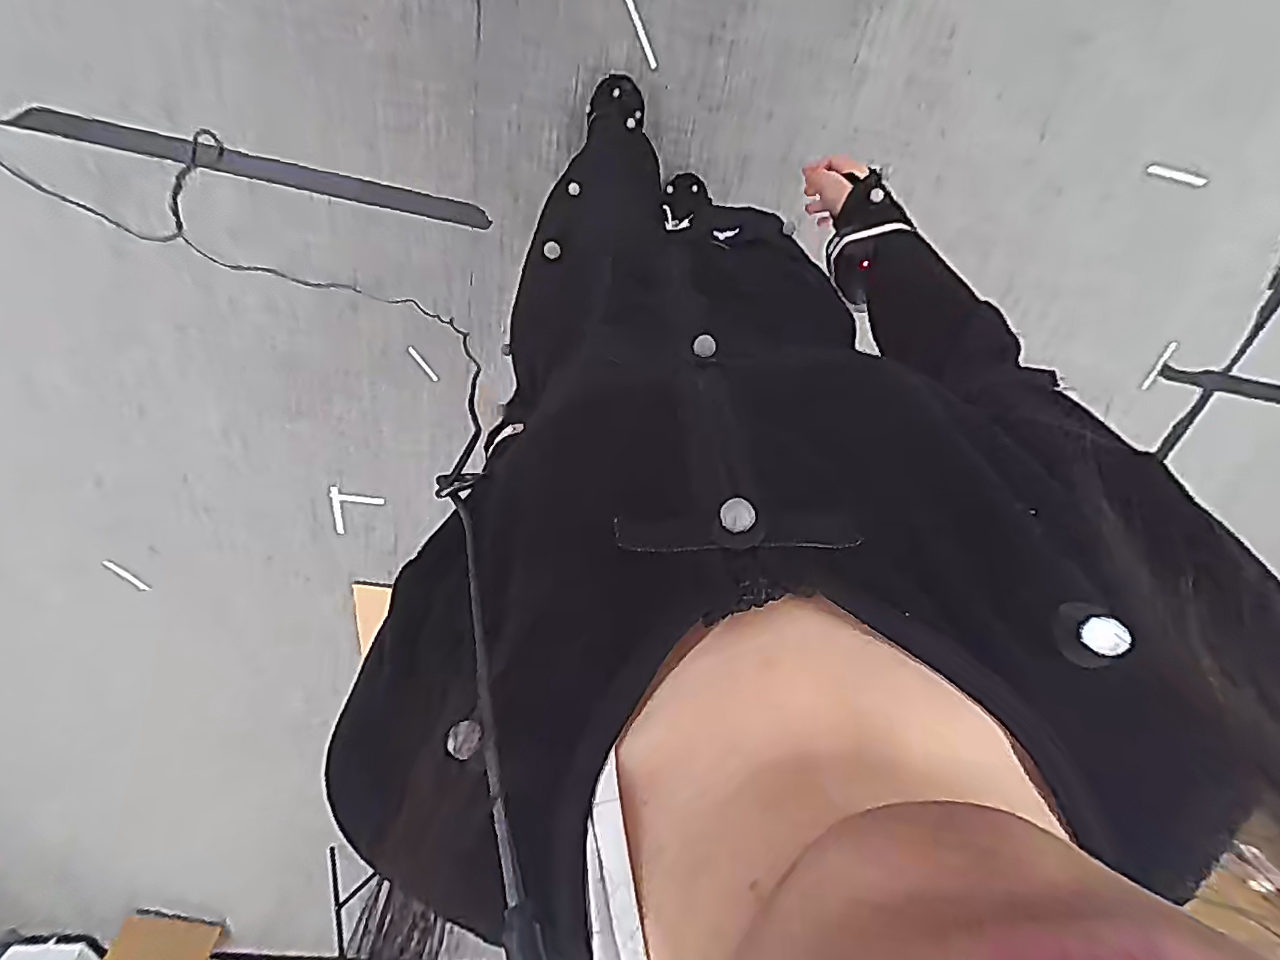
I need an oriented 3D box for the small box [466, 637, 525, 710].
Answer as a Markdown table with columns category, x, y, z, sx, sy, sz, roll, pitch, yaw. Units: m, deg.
| category | x | y | z | sx | sy | sz | roll | pitch | yaw |
| --- | --- | --- | --- | --- | --- | --- | --- | --- | --- |
| small box | -0.509 | 0.684 | 1.922 | 0.168 | 0.176 | 0.179 | 12 | 120 | -7 |
